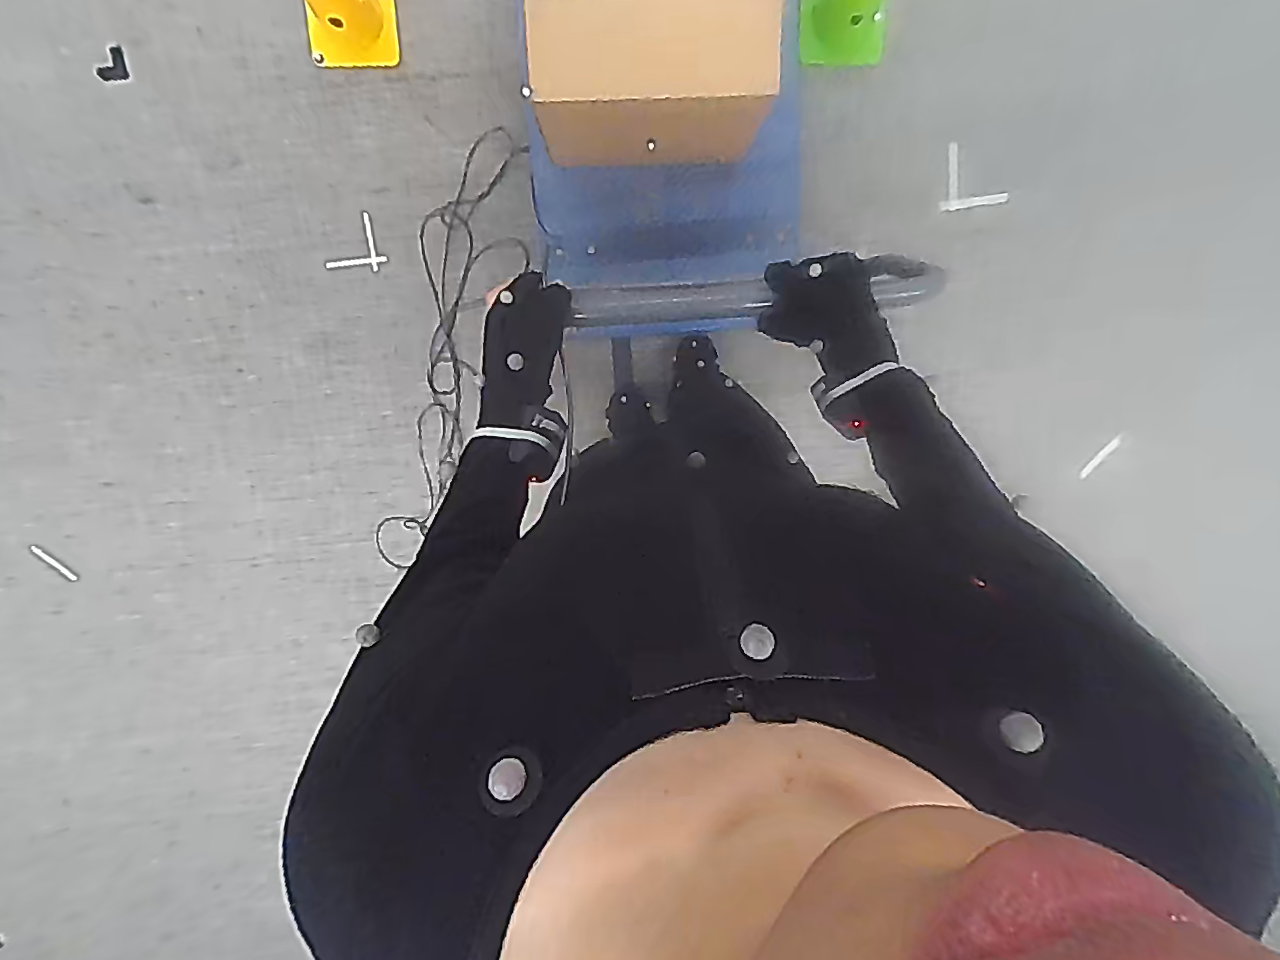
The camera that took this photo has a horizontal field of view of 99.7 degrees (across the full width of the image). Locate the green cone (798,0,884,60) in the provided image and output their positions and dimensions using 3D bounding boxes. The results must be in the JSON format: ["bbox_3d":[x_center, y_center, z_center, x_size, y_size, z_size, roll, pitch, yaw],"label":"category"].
[{"bbox_3d":[0.479,-1.062,1.097,0.202,0.368,0.200,-2,102,-2],"label":"green cone"}]

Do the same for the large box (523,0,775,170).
[{"bbox_3d":[0.014,-0.795,0.994,0.408,0.320,0.320,-3,102,0],"label":"large box"}]
